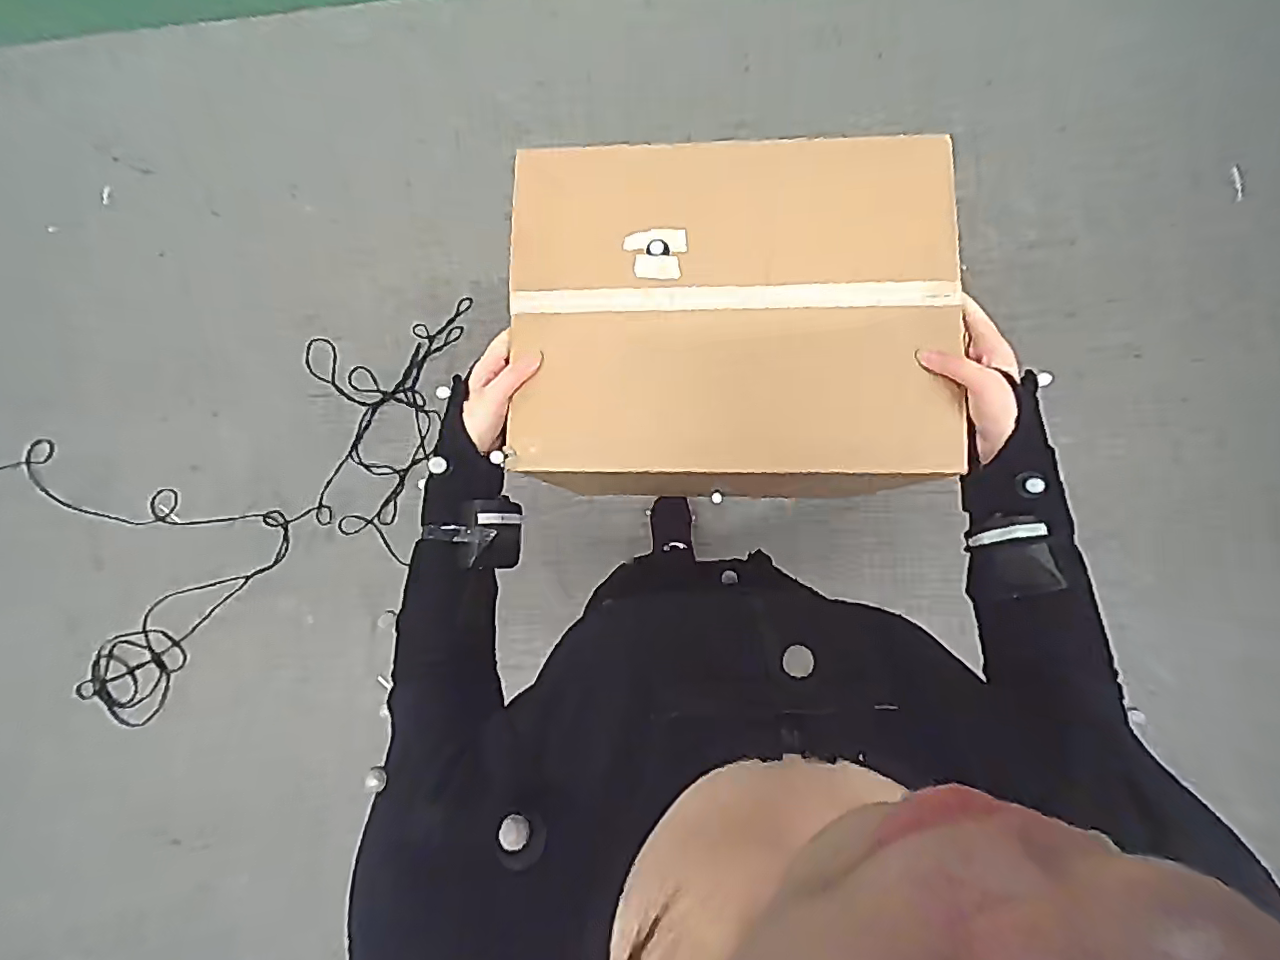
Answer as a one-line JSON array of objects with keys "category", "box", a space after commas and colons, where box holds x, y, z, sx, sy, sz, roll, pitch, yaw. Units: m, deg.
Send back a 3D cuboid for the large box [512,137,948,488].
[{"category": "large box", "box": [0.091, -0.152, 0.654, 0.408, 0.320, 0.320, 0, 84, 6]}]
